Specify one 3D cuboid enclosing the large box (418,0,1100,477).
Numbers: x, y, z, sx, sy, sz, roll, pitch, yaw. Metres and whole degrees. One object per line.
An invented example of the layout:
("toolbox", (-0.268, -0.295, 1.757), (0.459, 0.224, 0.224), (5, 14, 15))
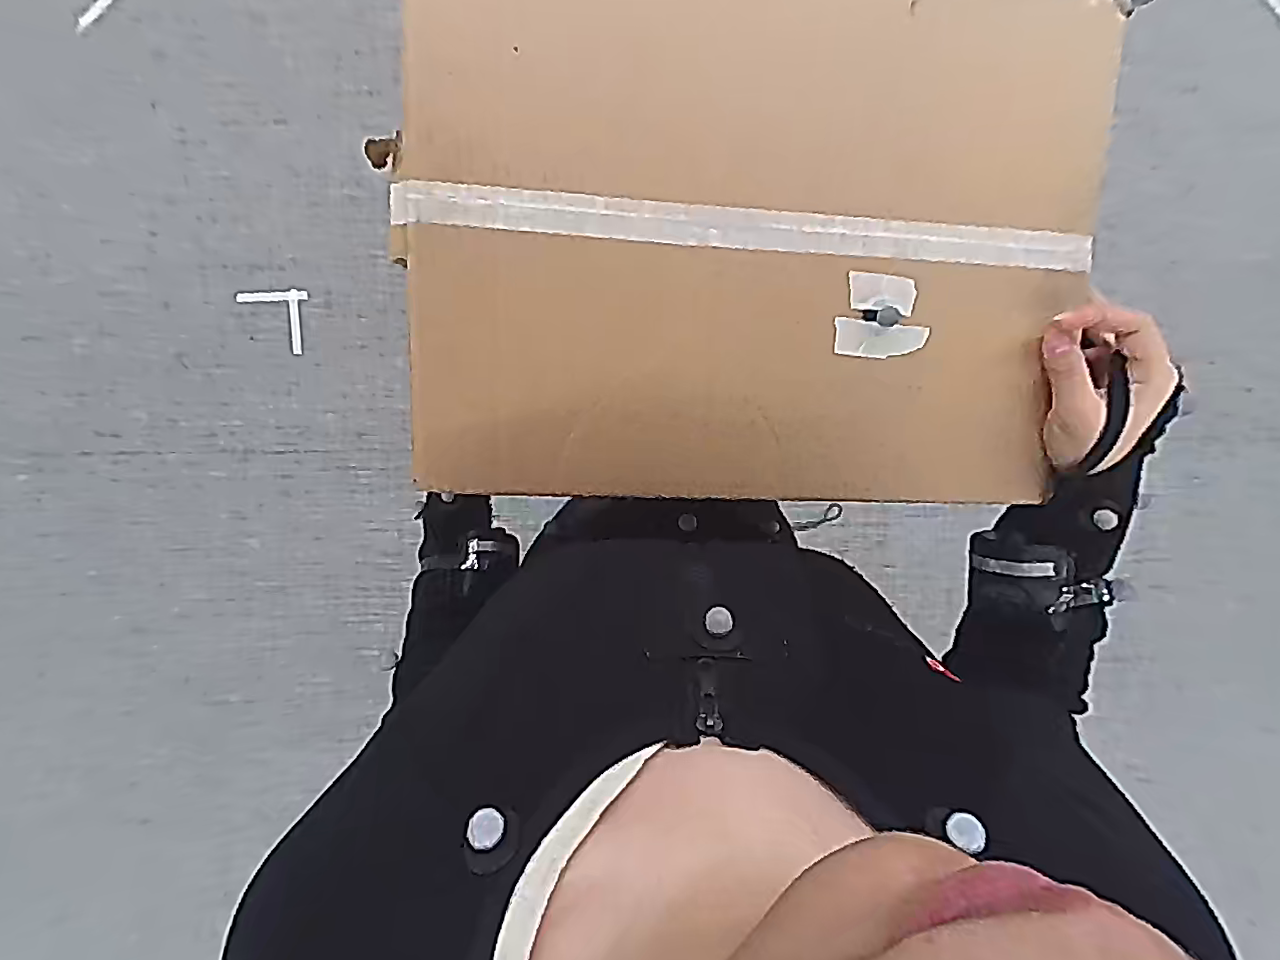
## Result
("large box", (0.057, -0.177, 0.464), (0.408, 0.320, 0.320), (1, 99, -9))
